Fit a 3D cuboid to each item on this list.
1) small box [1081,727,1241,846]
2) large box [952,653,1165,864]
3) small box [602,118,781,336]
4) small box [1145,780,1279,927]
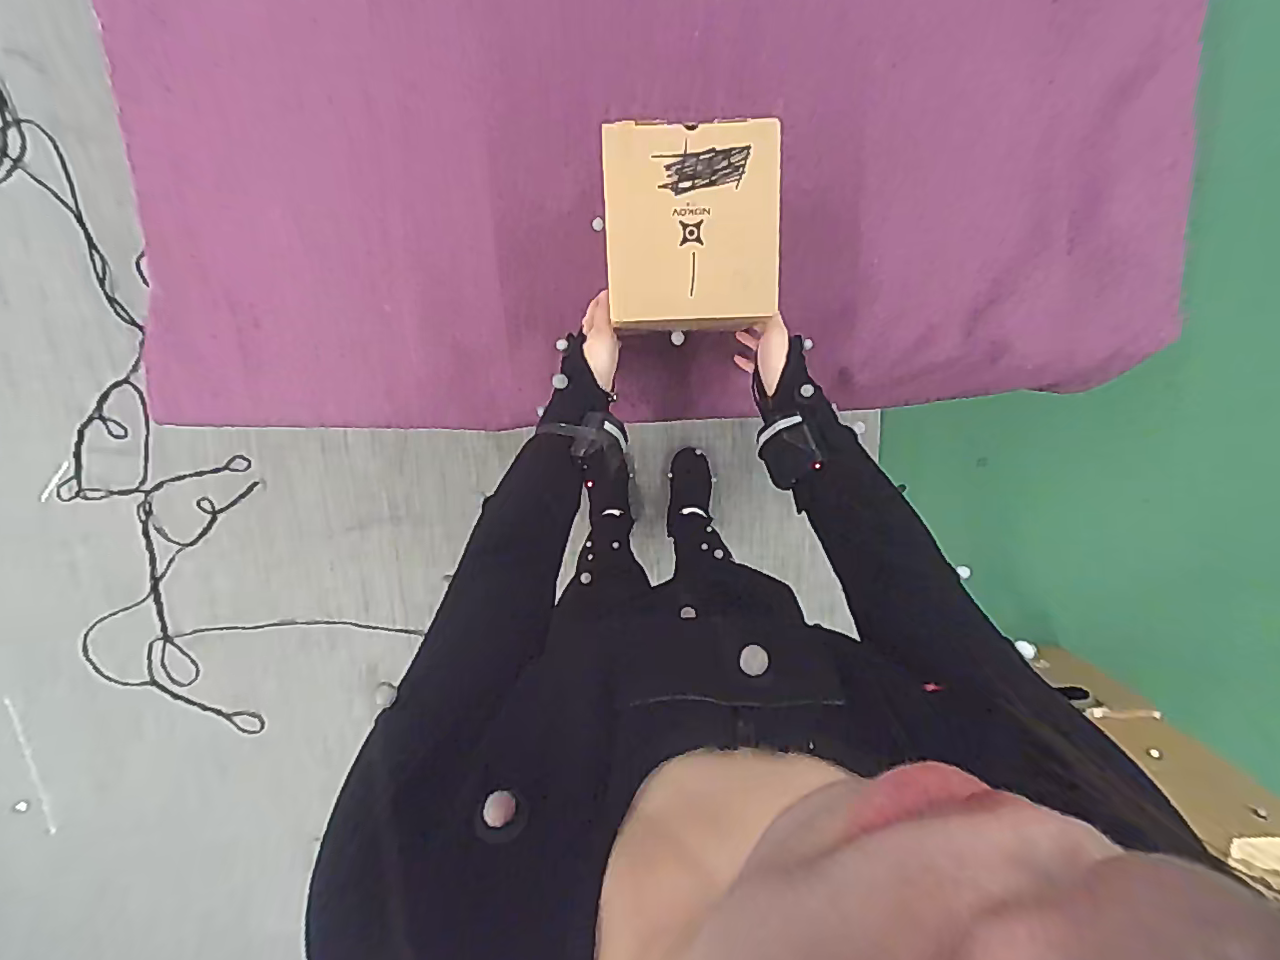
[{"bbox_3d":[1.137,0.667,1.193,0.179,0.176,0.168,-1,102,0],"label":"small box"},{"bbox_3d":[1.086,0.725,1.450,0.320,0.320,0.408,-1,102,0],"label":"large box"},{"bbox_3d":[0.046,-0.251,0.576,0.168,0.176,0.179,-2,101,0],"label":"small box"},{"bbox_3d":[1.136,0.702,1.032,0.179,0.176,0.168,-2,101,0],"label":"small box"}]
